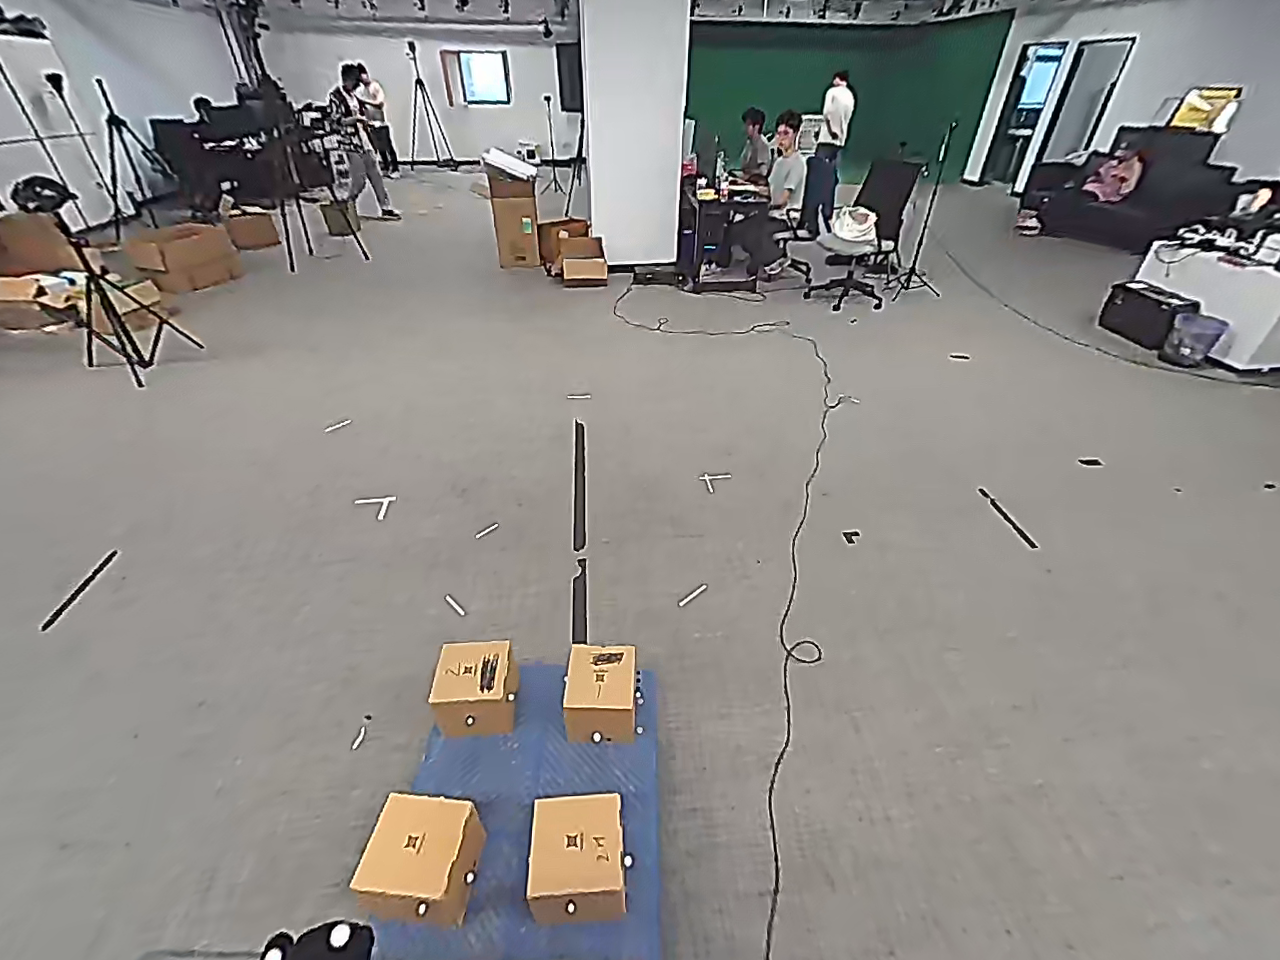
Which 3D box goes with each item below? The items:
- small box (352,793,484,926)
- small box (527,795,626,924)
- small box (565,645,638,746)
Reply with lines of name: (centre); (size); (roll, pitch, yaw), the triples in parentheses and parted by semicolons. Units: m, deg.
small box: (-0.429, 0.757, 1.078); (0.179, 0.176, 0.168); (5, 36, 3)
small box: (-0.119, 0.756, 1.078); (0.179, 0.176, 0.168); (-2, 37, -2)
small box: (-0.091, 0.543, 1.367); (0.168, 0.176, 0.179); (1, 38, 2)
